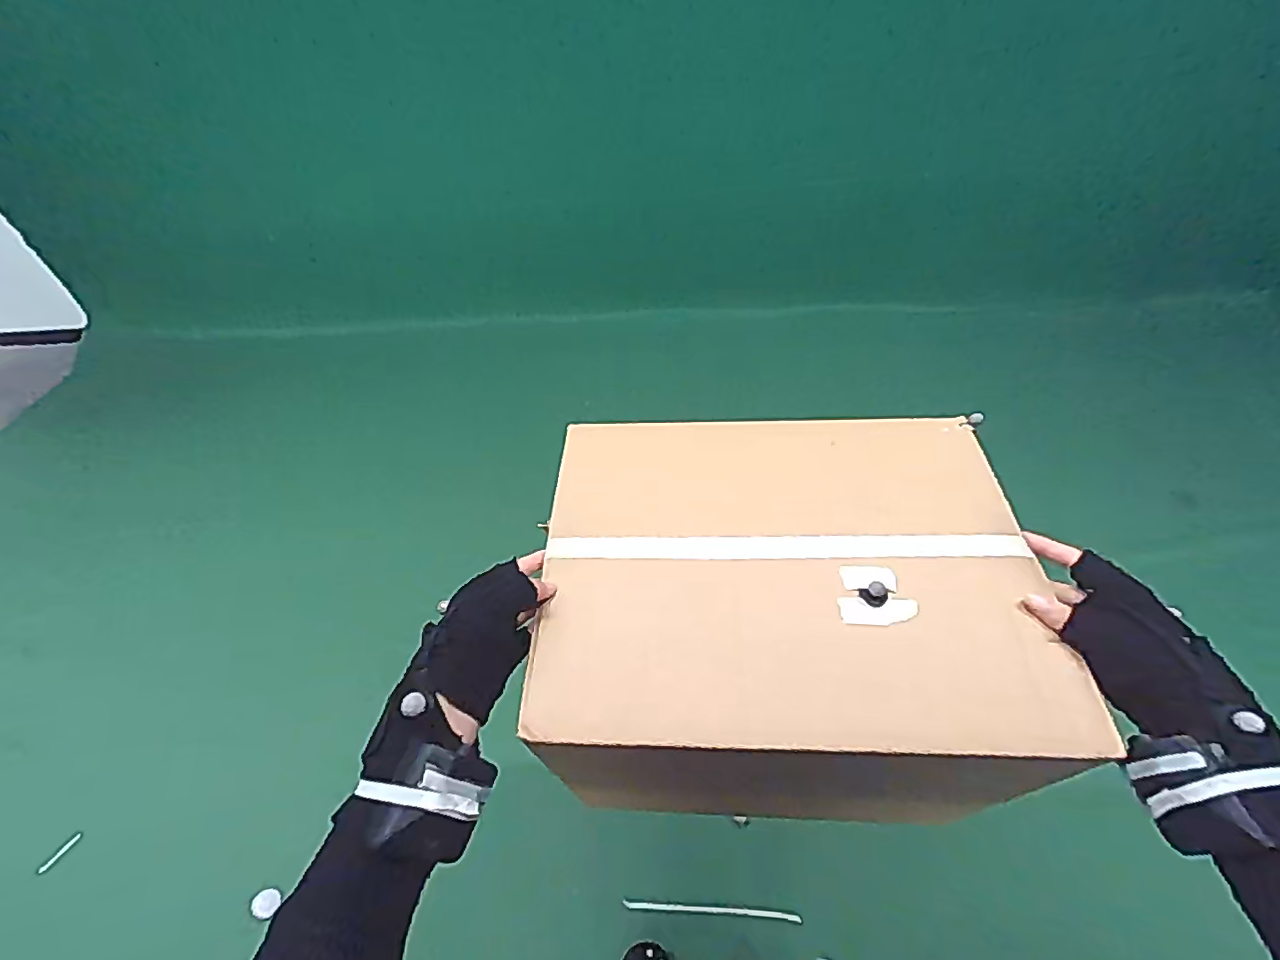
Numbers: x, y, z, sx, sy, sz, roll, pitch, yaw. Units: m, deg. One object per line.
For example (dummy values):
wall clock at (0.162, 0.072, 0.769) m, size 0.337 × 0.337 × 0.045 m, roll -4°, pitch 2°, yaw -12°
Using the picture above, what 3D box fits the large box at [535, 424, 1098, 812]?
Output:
large box at (0.132, 0.160, 0.590) m, size 0.408 × 0.320 × 0.320 m, roll -1°, pitch 51°, yaw 5°
